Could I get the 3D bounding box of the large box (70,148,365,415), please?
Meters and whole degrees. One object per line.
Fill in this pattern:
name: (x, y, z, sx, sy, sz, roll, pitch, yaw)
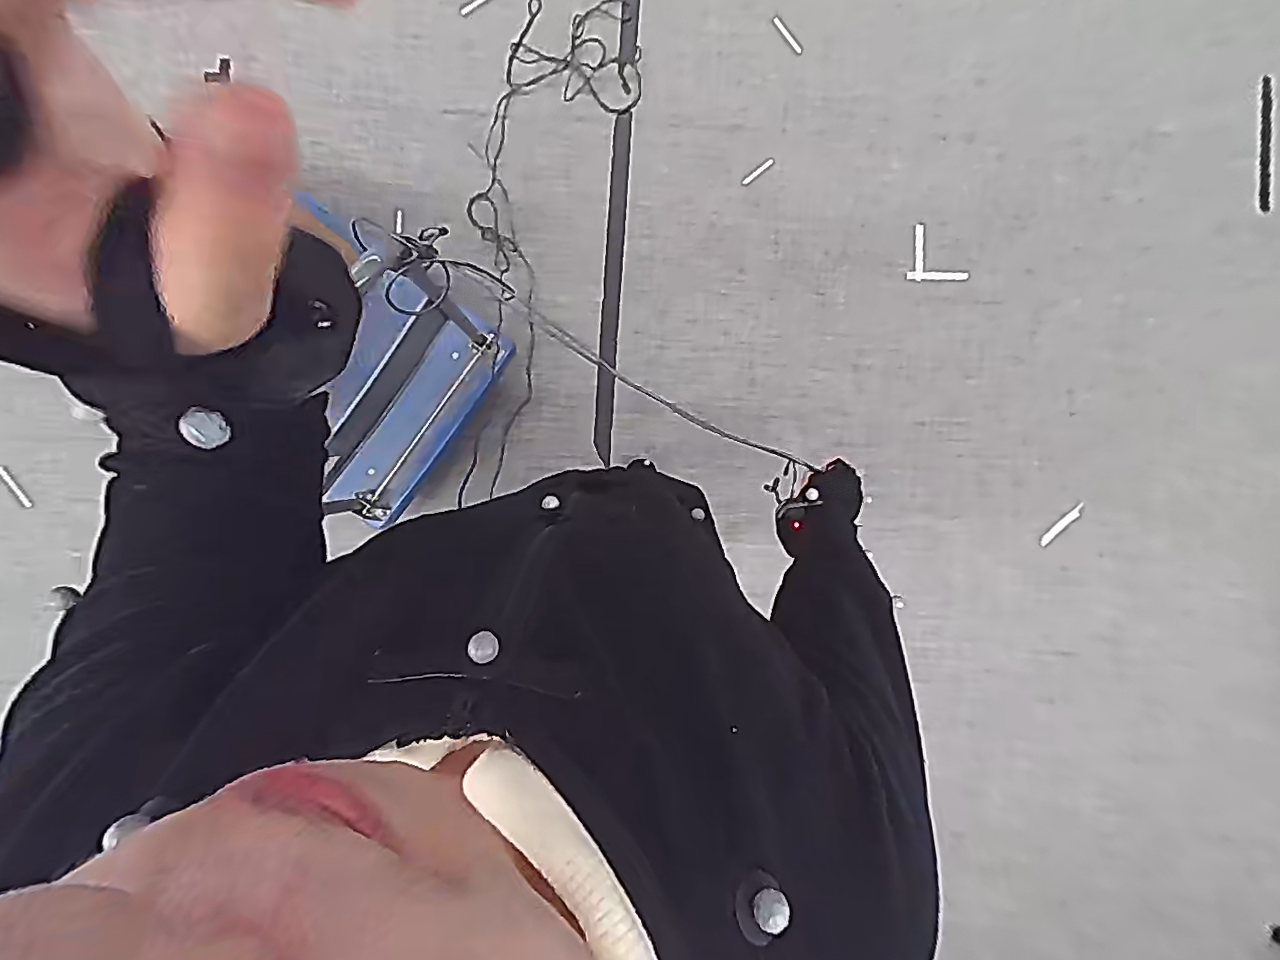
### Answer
large box: (-0.869, -0.391, 1.167, 0.320, 0.320, 0.408, 19, 89, -2)
